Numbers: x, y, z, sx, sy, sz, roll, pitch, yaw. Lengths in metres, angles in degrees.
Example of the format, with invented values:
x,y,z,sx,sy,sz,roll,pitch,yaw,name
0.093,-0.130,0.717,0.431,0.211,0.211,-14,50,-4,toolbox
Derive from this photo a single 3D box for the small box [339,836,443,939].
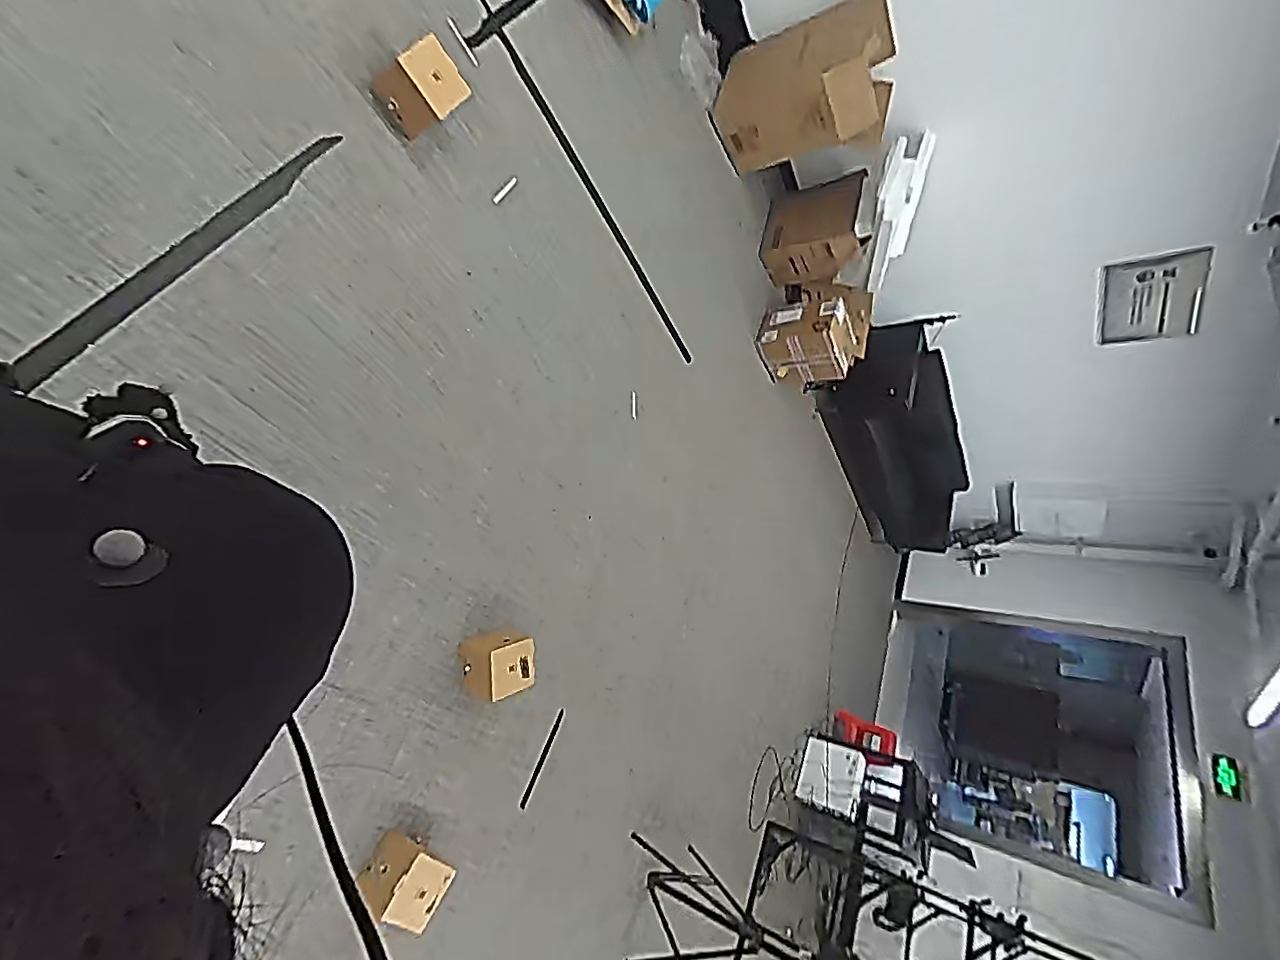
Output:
x,y,z,sx,sy,sz,roll,pitch,yaw,name
-0.716,1.159,1.551,0.168,0.176,0.179,-57,132,-35,small box

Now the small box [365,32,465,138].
x,y,z,sx,sy,sz,roll,pitch,yaw,name
-0.656,-1.142,1.571,0.168,0.176,0.179,51,53,-39,small box

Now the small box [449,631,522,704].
x,y,z,sx,sy,sz,roll,pitch,yaw,name
-0.515,0.617,1.807,0.179,0.176,0.168,-4,93,-52,small box
